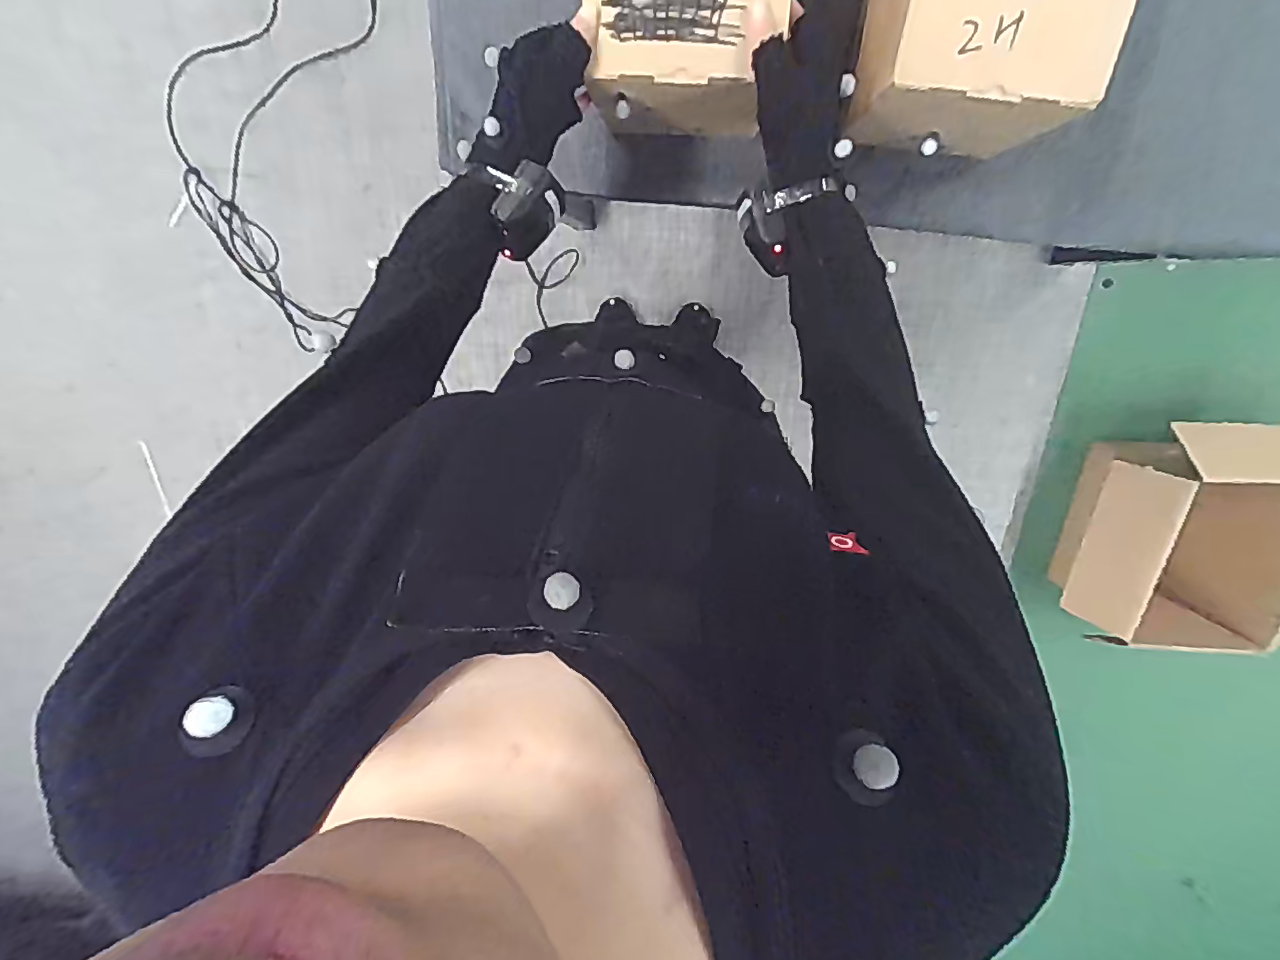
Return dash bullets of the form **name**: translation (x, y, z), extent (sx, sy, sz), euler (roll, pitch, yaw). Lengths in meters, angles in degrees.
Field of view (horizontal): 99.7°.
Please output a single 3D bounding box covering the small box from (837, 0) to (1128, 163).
- **small box**: translation (0.294, -0.409, 0.484), extent (0.168, 0.176, 0.179), euler (7, 110, 1)
